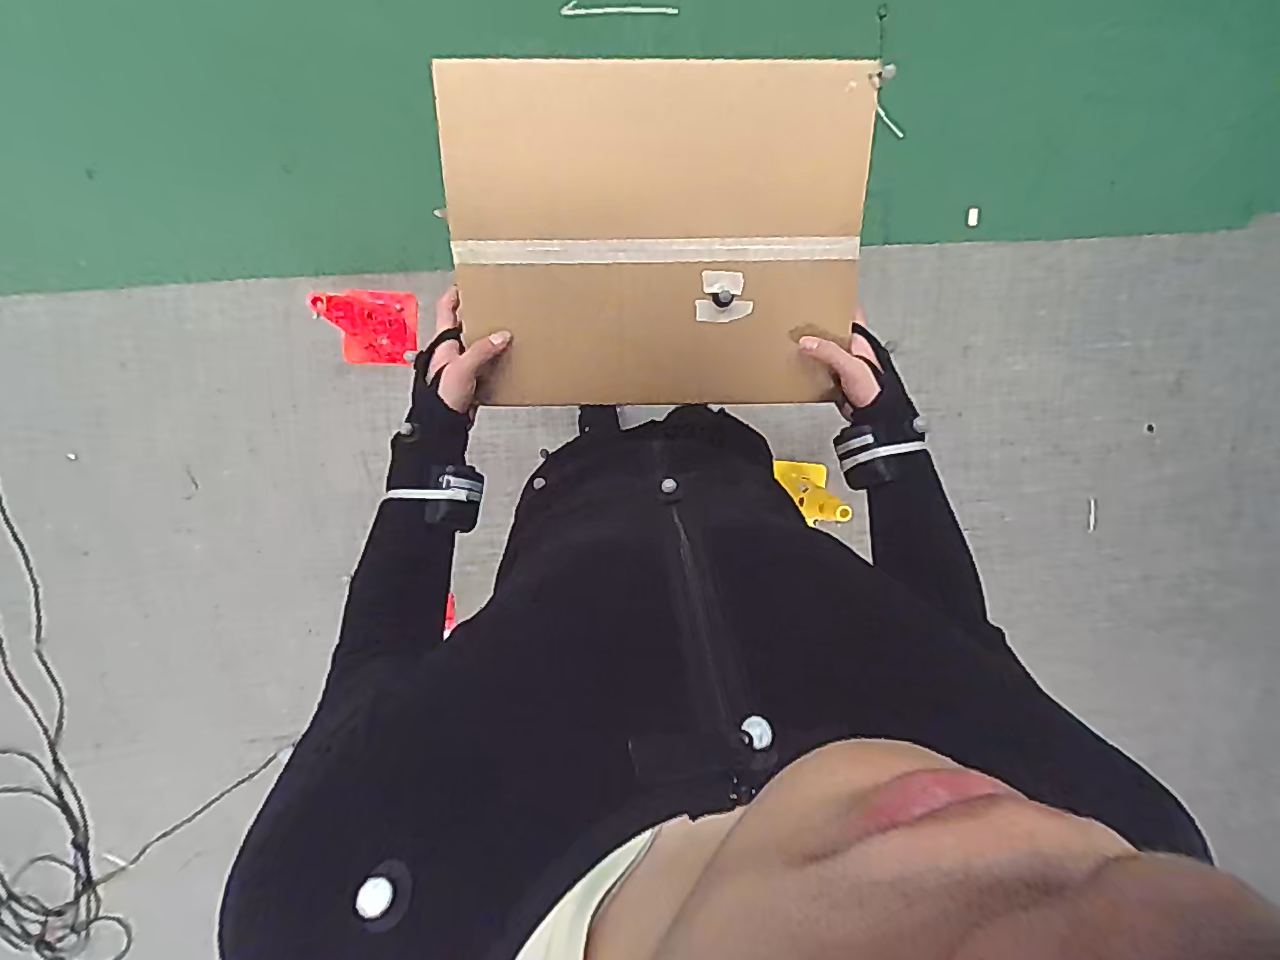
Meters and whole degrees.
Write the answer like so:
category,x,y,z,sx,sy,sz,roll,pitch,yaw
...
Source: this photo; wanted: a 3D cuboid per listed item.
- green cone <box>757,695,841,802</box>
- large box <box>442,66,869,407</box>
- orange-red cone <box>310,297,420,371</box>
category,x,y,z,sx,sy,sz,roll,pitch,yaw
green cone,0.496,0.813,1.589,0.200,0.368,0.202,1,95,-5
large box,0.013,-0.282,0.687,0.408,0.320,0.320,-2,111,-2
orange-red cone,-0.711,-0.392,1.345,0.199,0.360,0.198,2,96,-4
